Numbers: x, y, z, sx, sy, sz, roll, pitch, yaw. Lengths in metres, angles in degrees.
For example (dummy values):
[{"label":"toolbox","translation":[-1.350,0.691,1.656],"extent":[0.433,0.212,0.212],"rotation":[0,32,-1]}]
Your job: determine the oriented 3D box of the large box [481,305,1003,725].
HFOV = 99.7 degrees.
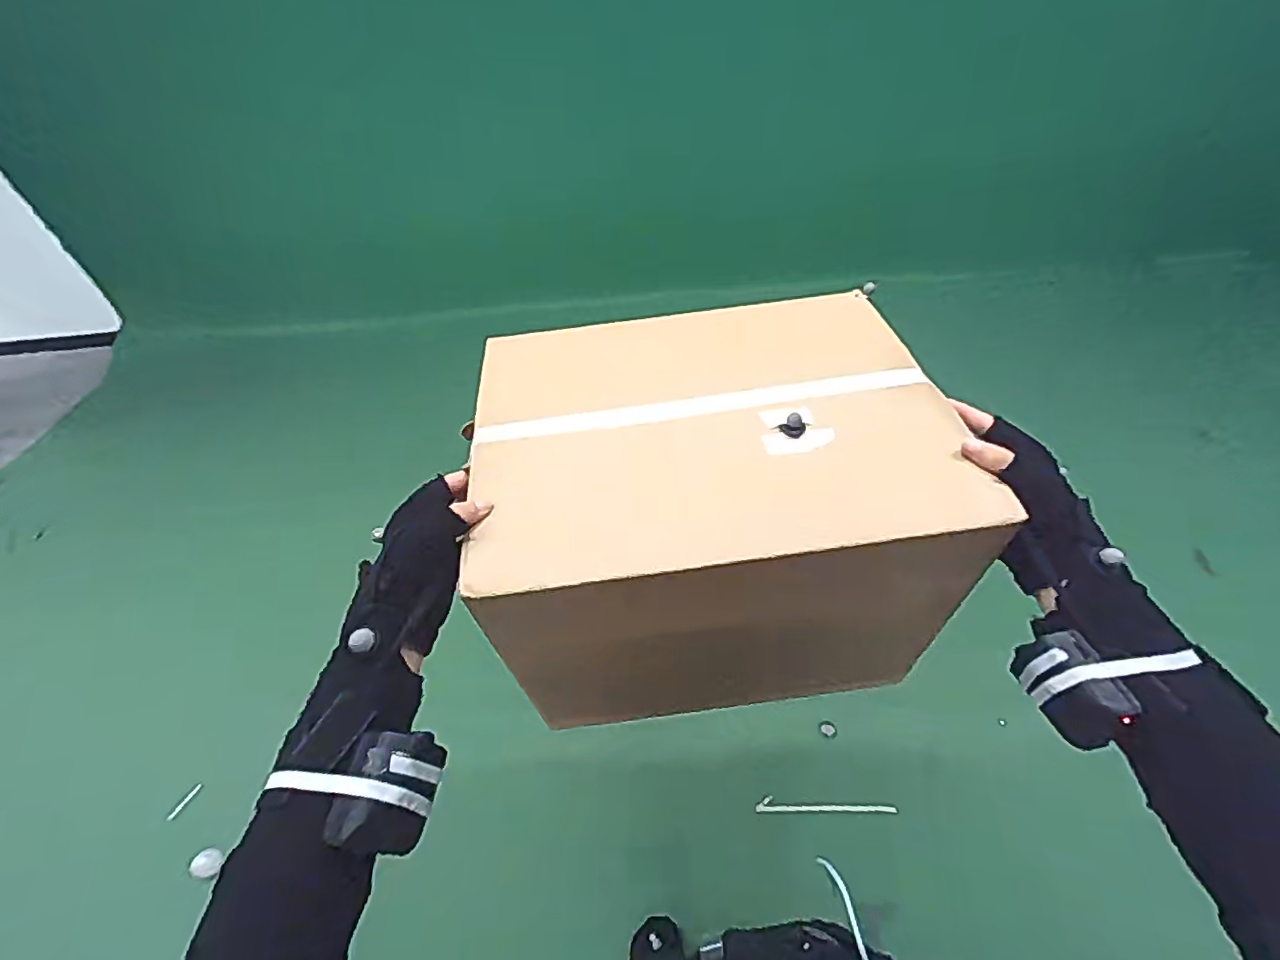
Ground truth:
[{"label":"large box","translation":[0.068,0.043,0.604],"extent":[0.408,0.320,0.320],"rotation":[-7,50,-2]}]
